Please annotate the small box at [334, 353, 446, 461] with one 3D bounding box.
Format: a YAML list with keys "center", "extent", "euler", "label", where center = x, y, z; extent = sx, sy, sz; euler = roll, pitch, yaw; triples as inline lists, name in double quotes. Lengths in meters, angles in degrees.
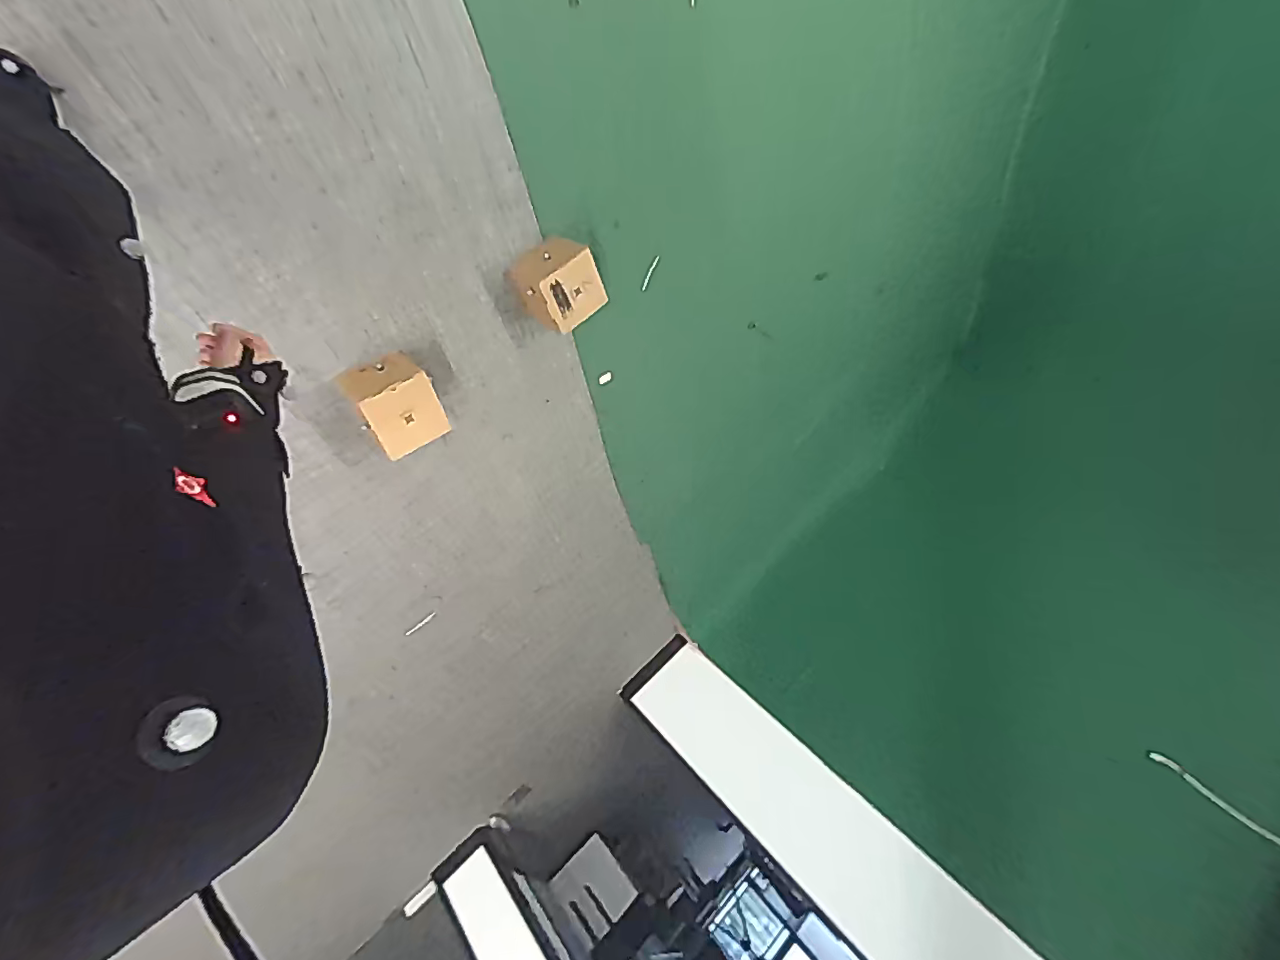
- center: [-0.611, -0.184, 1.326]
  extent: [0.168, 0.176, 0.179]
  euler: [-35, 137, -24]
  label: "small box"
